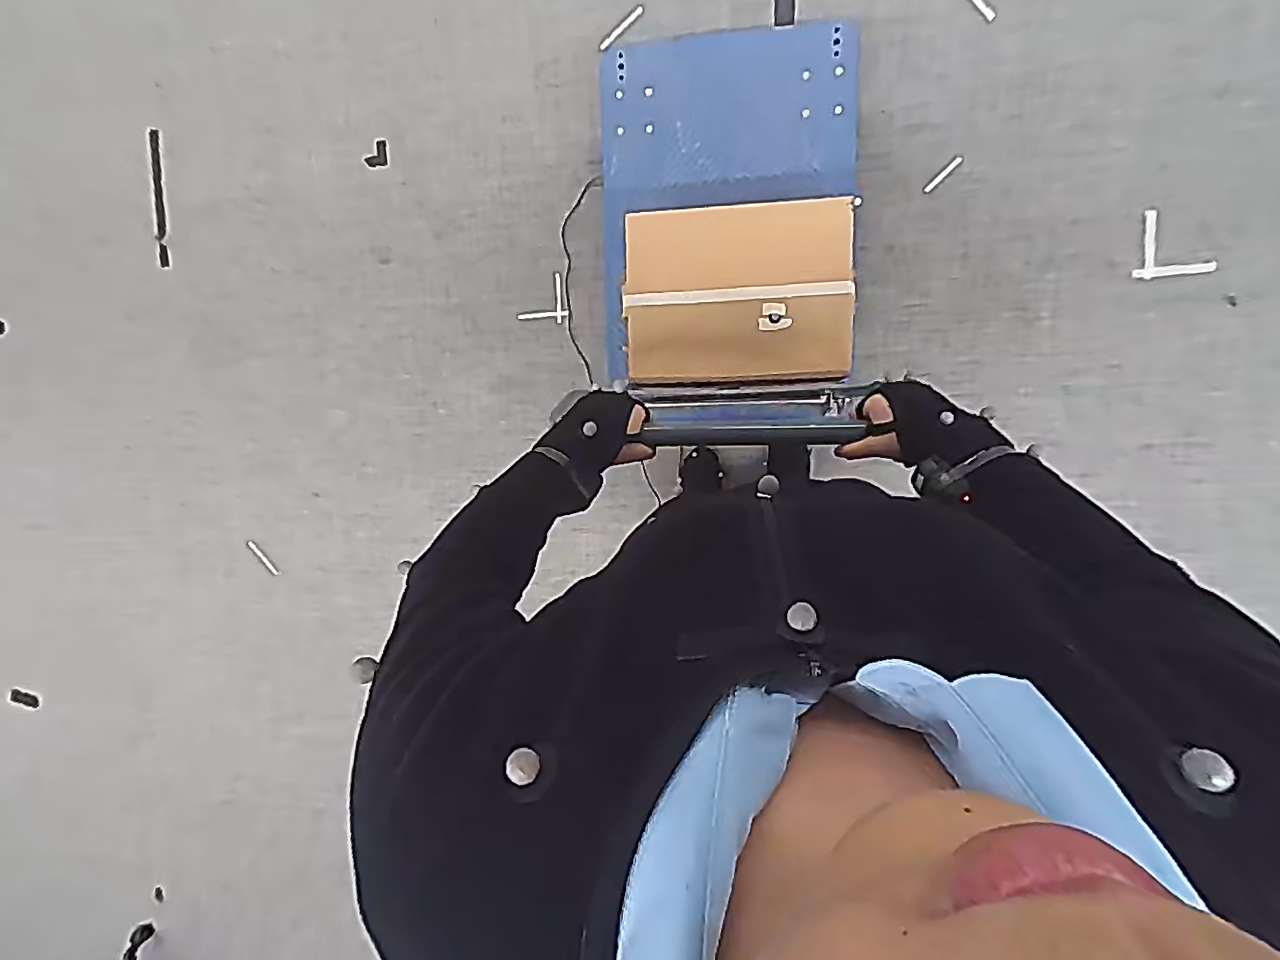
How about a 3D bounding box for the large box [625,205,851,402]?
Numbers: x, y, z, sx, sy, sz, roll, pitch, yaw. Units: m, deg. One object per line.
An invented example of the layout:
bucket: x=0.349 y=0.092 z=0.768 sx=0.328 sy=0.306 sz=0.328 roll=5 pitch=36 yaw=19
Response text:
large box: x=0.191 y=-0.334 z=1.125 sx=0.408 sy=0.320 sz=0.320 roll=-1 pitch=96 yaw=7
